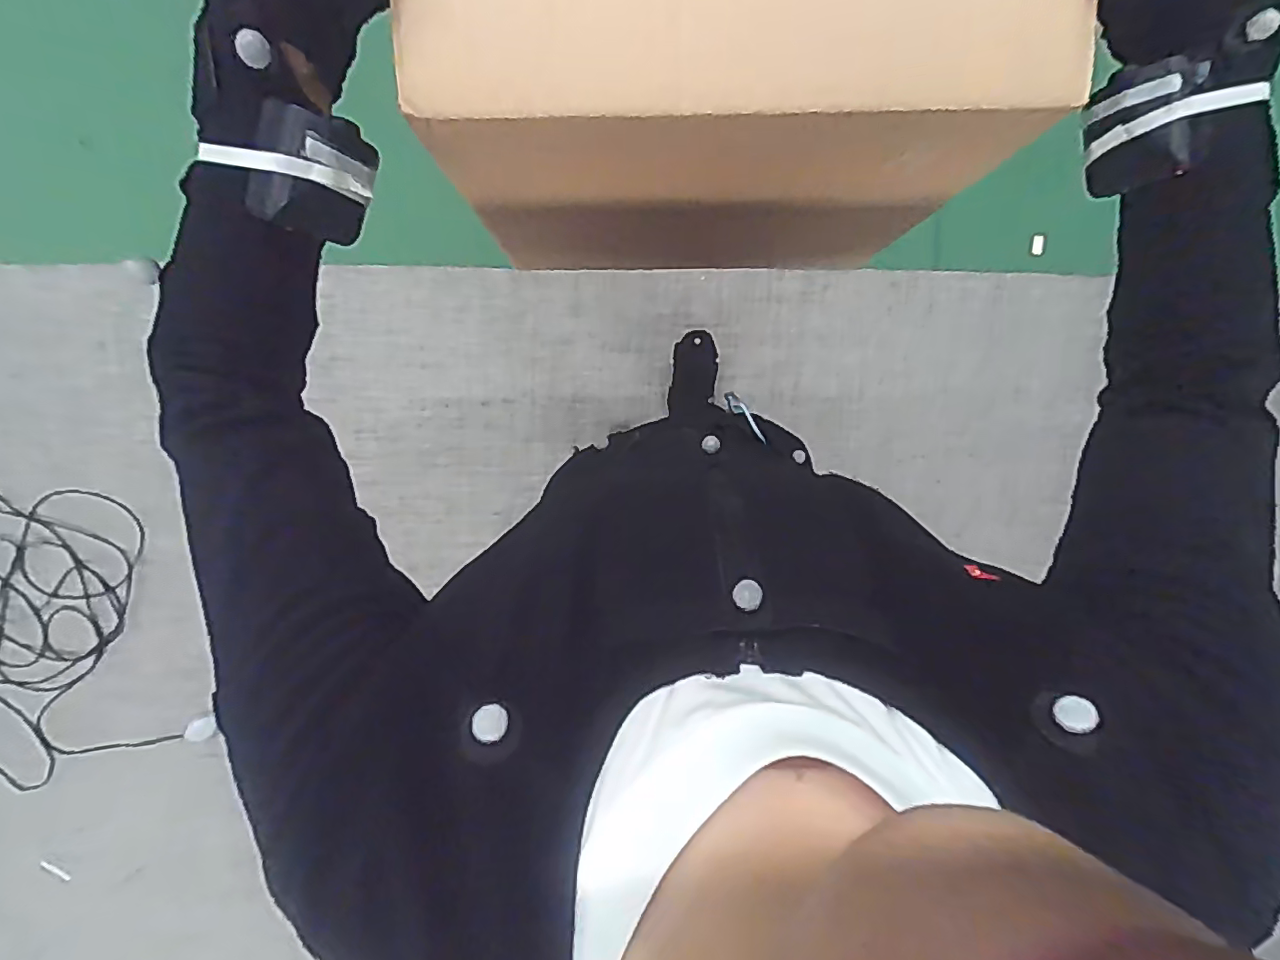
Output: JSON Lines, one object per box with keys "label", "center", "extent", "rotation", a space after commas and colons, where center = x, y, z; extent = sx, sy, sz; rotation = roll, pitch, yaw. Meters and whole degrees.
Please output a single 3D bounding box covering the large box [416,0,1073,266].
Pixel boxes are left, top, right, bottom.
{"label": "large box", "center": [0.057, -0.392, 0.465], "extent": [0.408, 0.320, 0.320], "rotation": [-2, 96, 0]}
